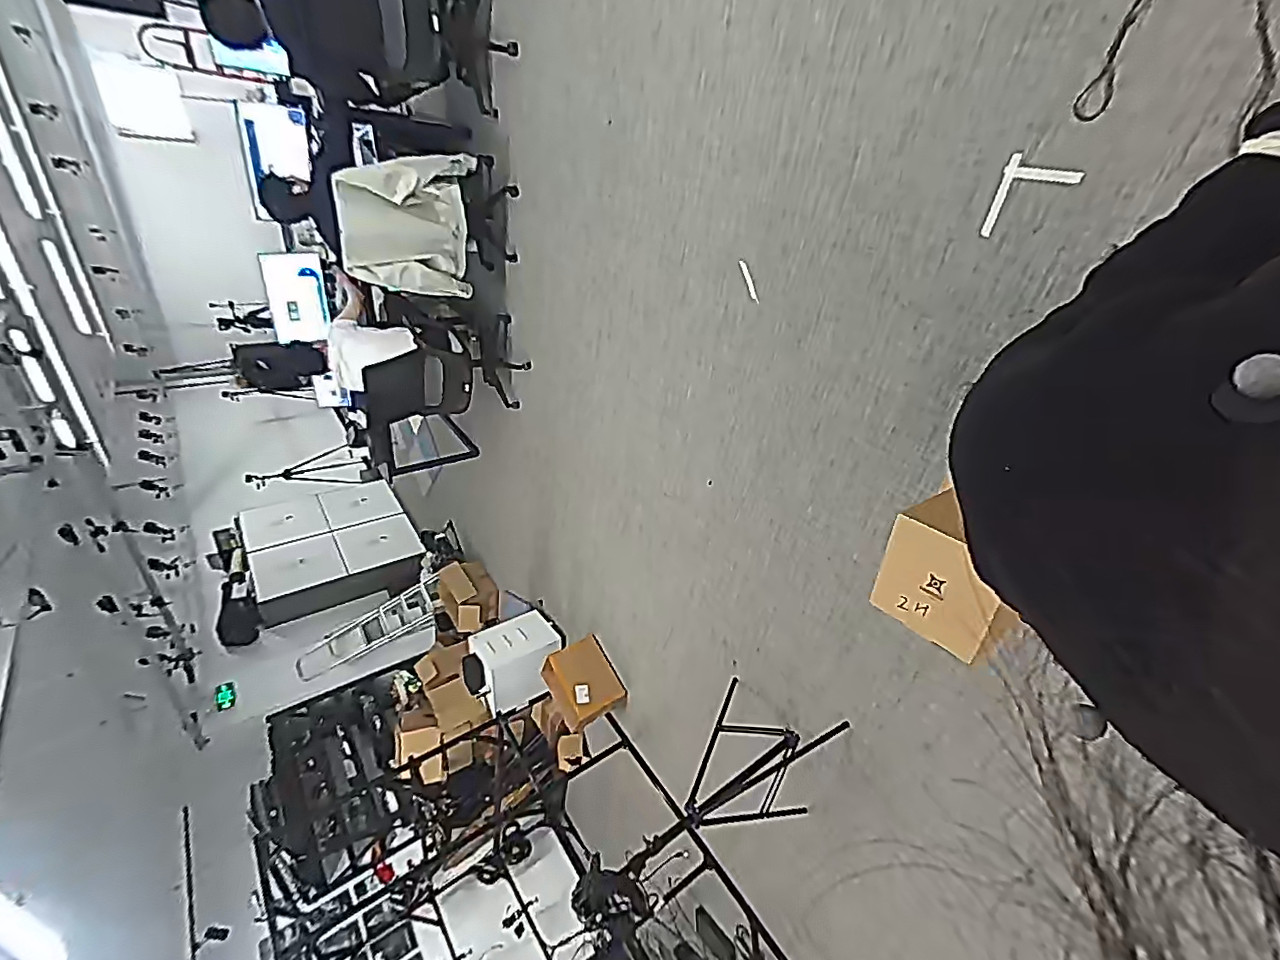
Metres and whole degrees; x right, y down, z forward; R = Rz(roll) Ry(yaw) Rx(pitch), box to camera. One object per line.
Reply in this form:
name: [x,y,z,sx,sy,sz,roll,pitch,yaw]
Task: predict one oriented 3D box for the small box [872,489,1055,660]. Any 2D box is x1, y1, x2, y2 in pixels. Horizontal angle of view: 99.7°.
small box: [0.497,0.132,0.833,0.168,0.176,0.179,34,130,45]
